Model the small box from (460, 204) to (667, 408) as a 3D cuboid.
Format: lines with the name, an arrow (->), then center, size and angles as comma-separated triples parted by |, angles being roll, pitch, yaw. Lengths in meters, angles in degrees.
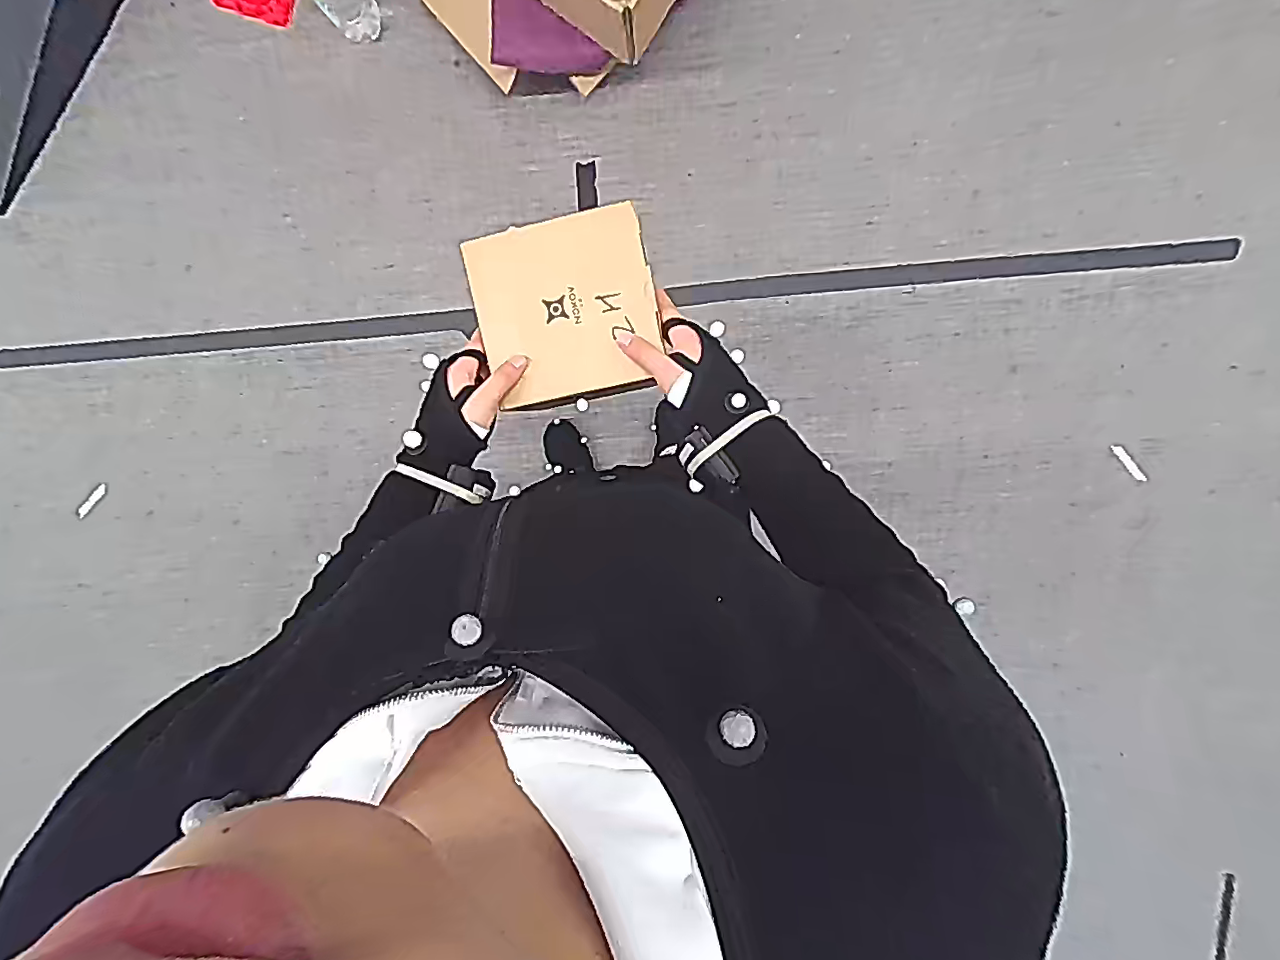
small box -> -0.070, -0.175, 0.602 | 0.179, 0.176, 0.168 | -11, 97, 5
